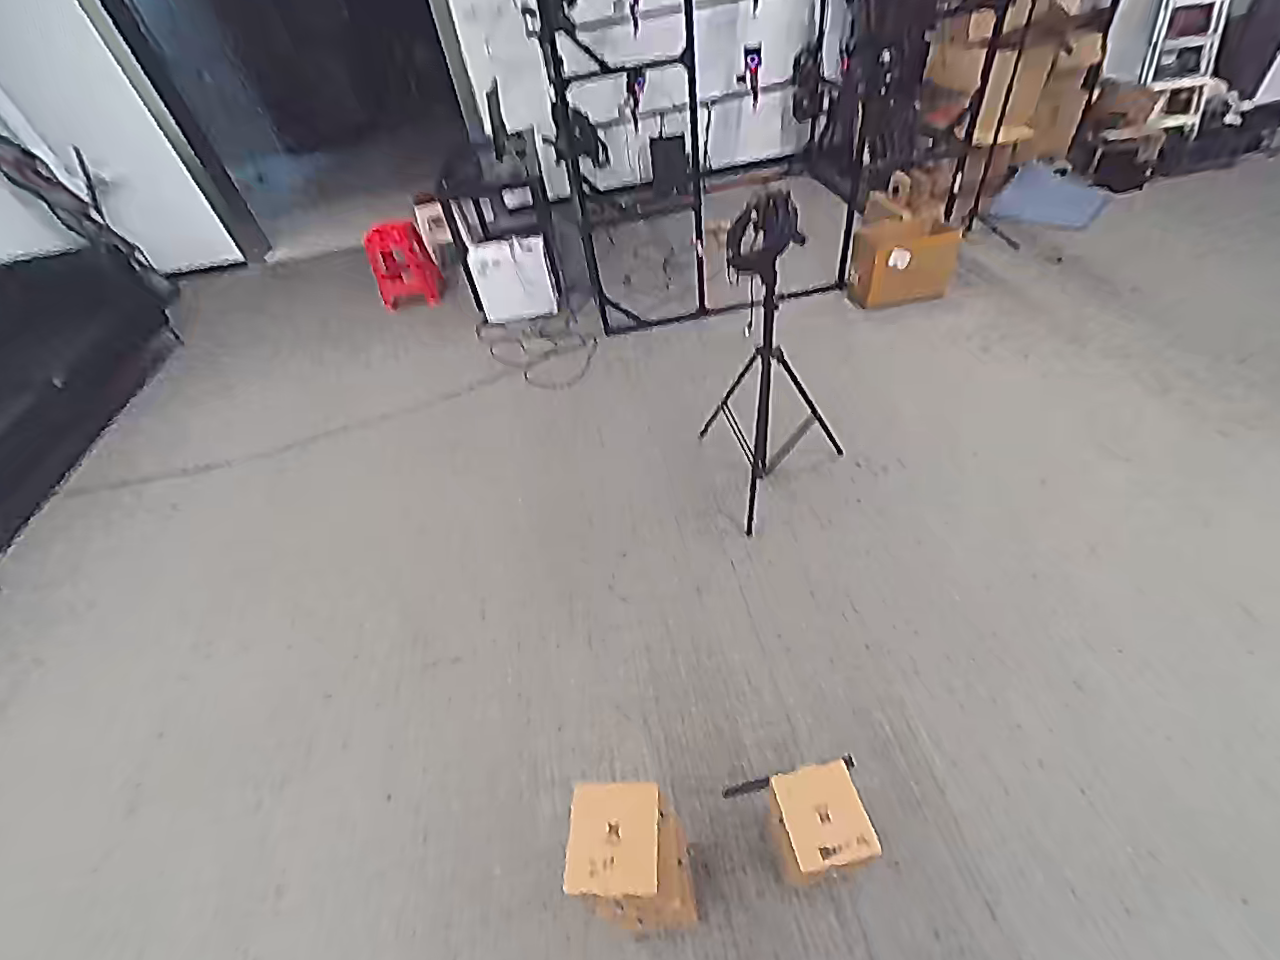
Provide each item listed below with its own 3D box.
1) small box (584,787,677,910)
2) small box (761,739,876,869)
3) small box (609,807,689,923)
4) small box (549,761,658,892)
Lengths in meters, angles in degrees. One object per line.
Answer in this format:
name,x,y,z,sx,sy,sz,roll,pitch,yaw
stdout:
small box,-0.018,0.759,1.113,0.168,0.176,0.179,-9,46,3
small box,0.358,0.674,1.125,0.168,0.176,0.179,-13,45,-3
small box,0.014,0.872,1.224,0.168,0.176,0.179,-10,45,1
small box,-0.058,0.642,1.003,0.168,0.176,0.179,-5,46,7
